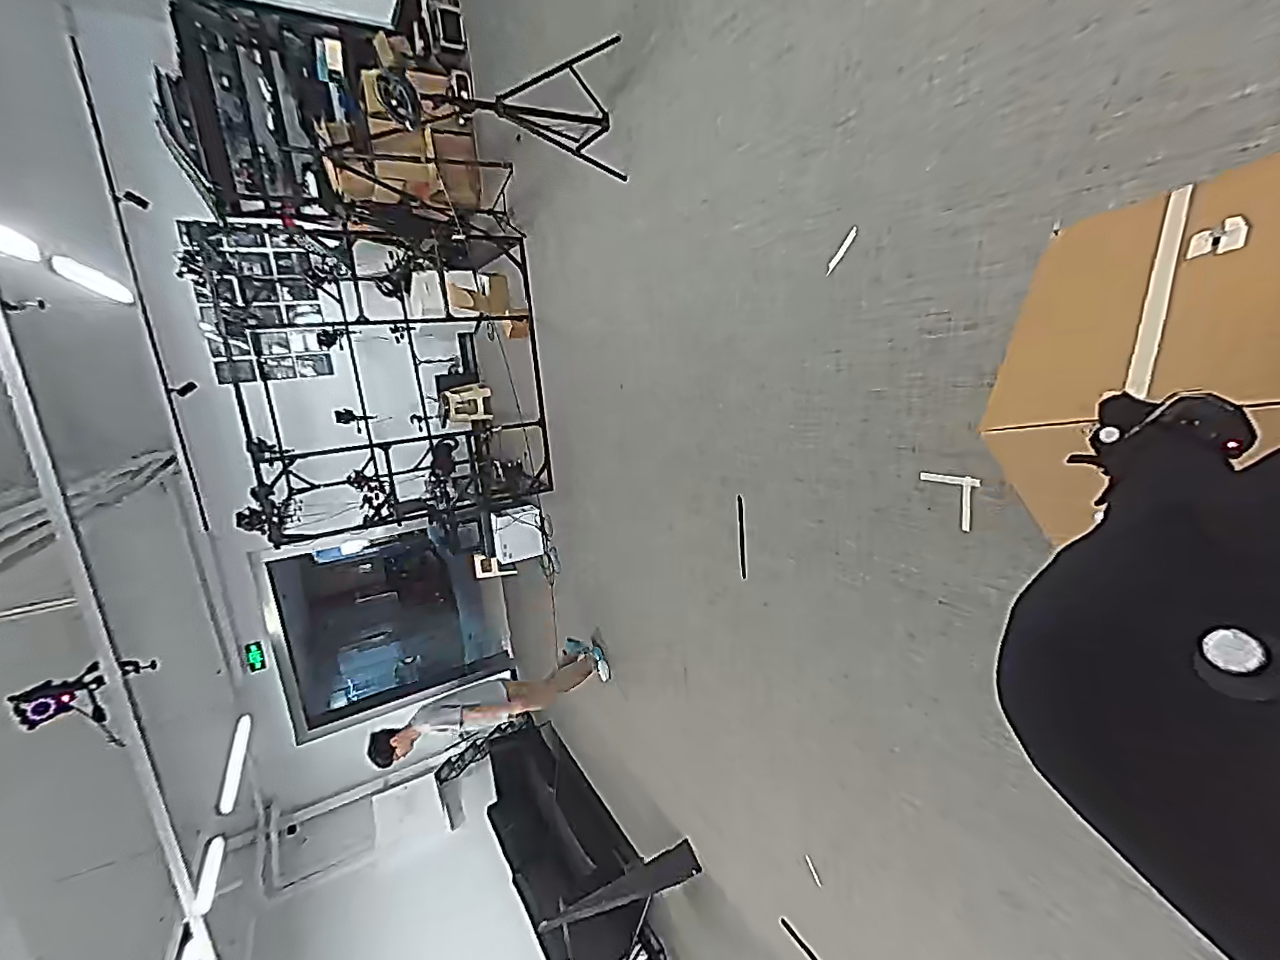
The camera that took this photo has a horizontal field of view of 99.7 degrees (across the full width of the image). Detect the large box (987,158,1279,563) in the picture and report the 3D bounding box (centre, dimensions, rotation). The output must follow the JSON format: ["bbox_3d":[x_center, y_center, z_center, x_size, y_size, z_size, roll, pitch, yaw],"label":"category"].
[{"bbox_3d":[0.745,-0.140,0.727,0.320,0.408,0.320,42,159,-24],"label":"large box"}]
